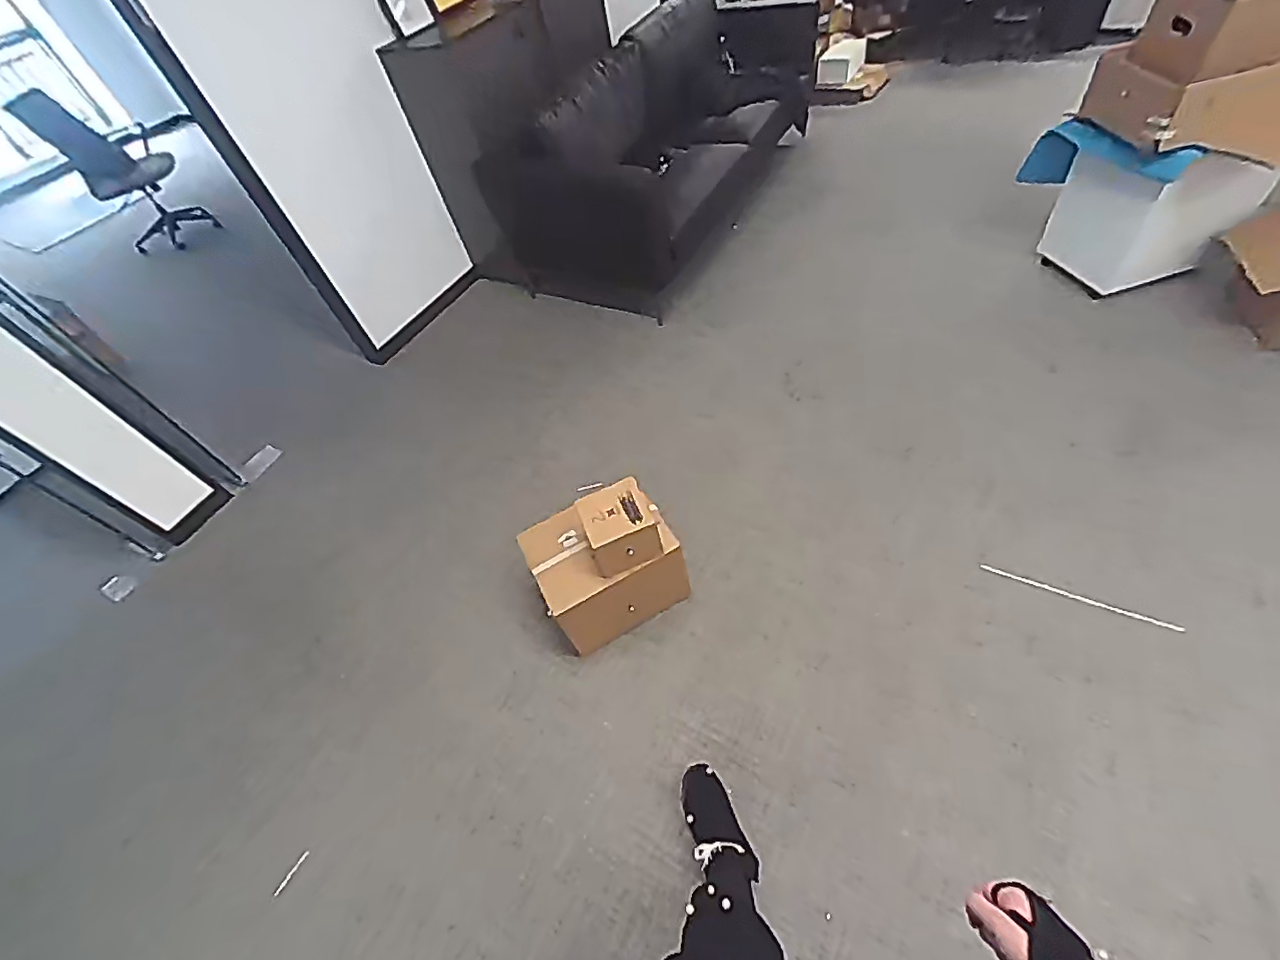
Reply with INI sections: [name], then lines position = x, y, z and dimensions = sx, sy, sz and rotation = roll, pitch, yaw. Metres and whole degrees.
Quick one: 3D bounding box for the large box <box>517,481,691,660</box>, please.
[large box]
position = -0.100, 0.280, 1.673
dimensions = 0.408, 0.320, 0.320
rotation = -29, 51, -10
